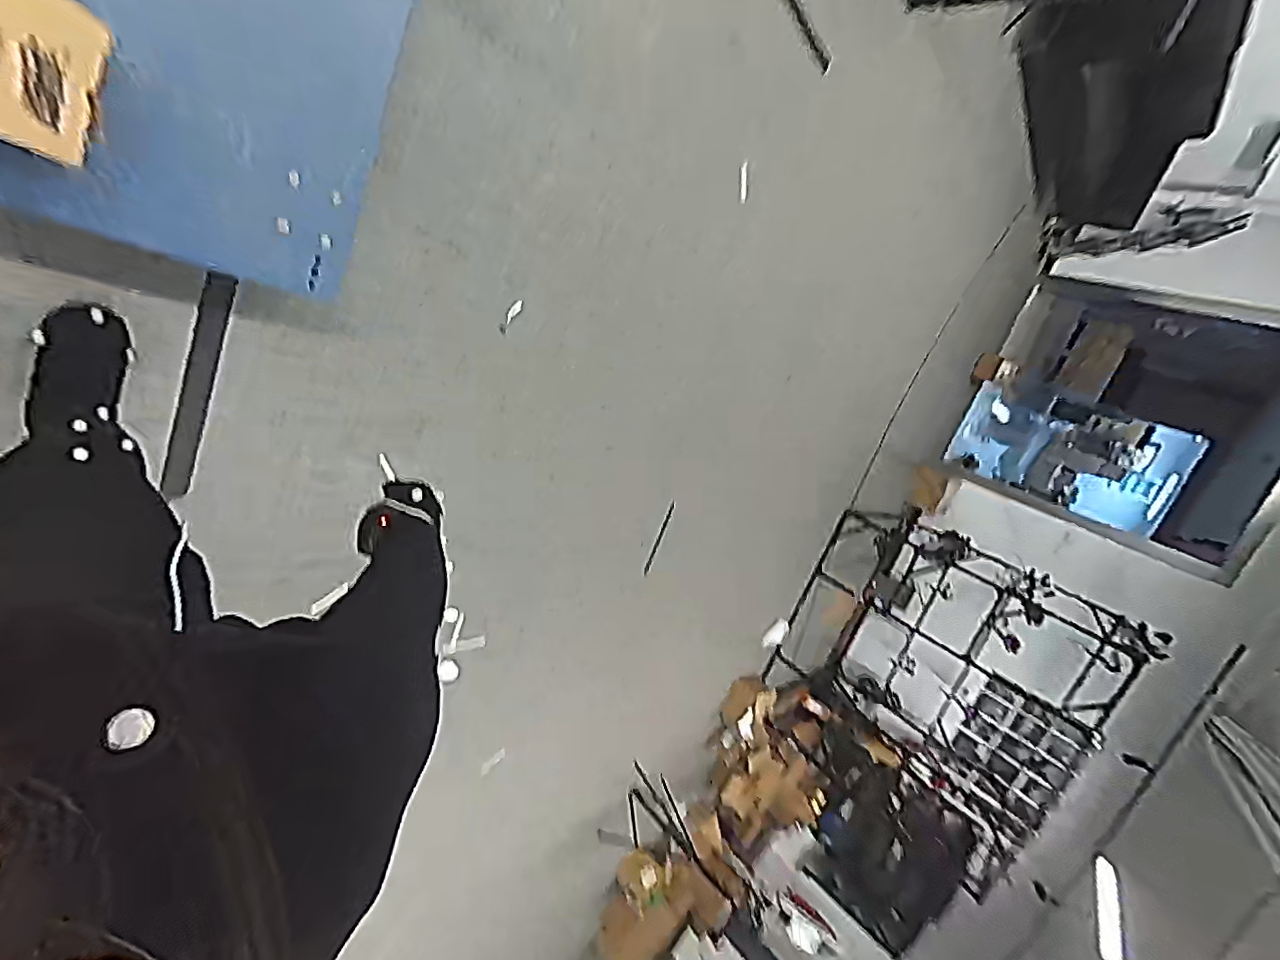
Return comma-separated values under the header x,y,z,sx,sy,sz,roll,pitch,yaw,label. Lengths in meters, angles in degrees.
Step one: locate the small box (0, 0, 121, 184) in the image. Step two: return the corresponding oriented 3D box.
x,y,z,sx,sy,sz,roll,pitch,yaw,label
-0.751,-0.479,0.628,0.179,0.176,0.168,14,103,-52,small box
